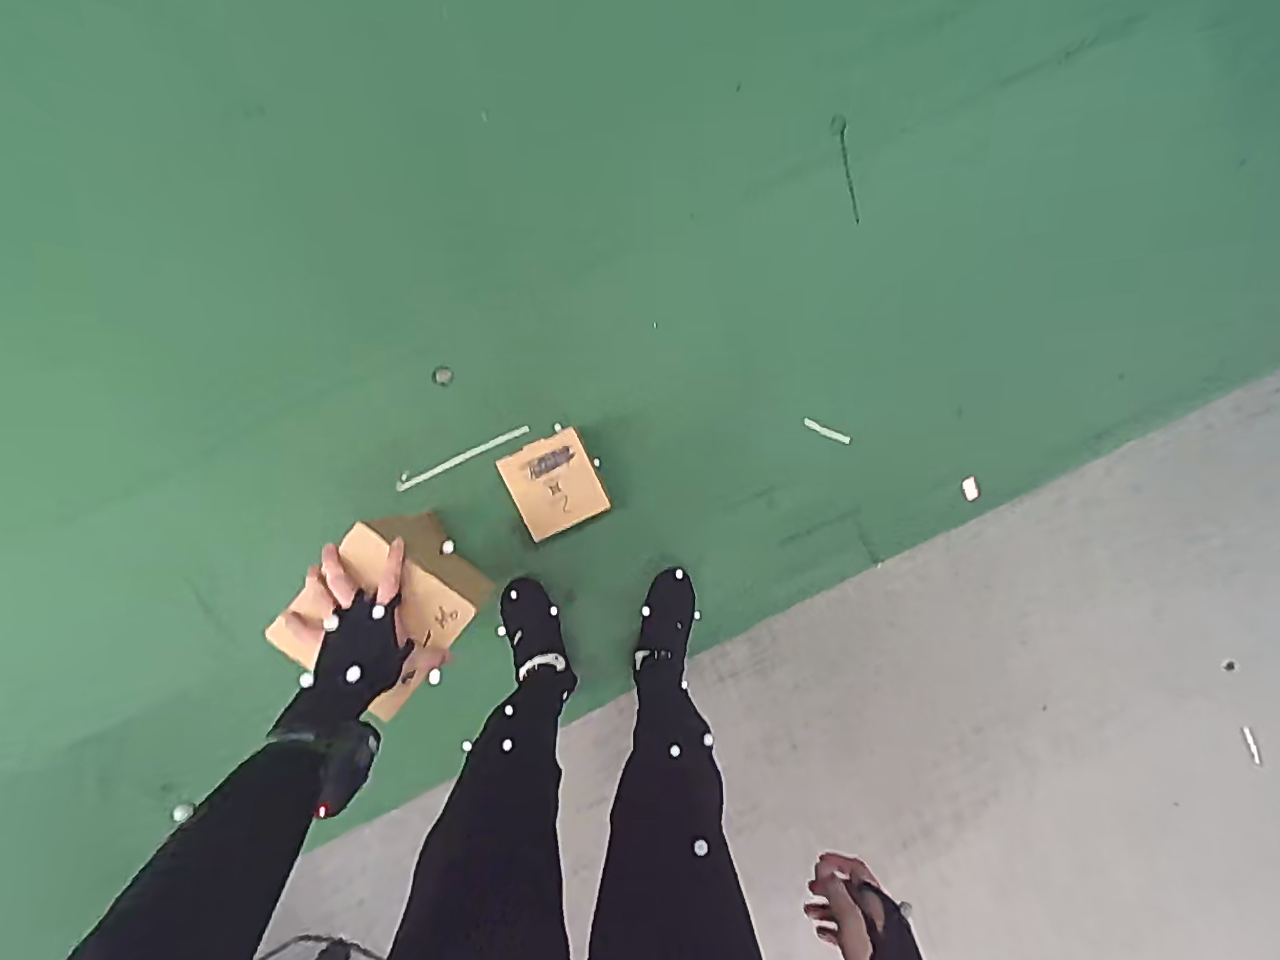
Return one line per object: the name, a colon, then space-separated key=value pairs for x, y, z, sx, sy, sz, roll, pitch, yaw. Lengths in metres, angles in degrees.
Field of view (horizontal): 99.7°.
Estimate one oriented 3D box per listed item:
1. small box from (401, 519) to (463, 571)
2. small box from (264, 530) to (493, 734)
small box: x=-0.483 y=0.200 z=1.121 sx=0.168 sy=0.176 sz=0.179 roll=-26 pitch=95 yaw=0
small box: x=-0.316 y=0.179 z=0.698 sx=0.179 sy=0.176 sz=0.168 roll=38 pitch=84 yaw=-4
